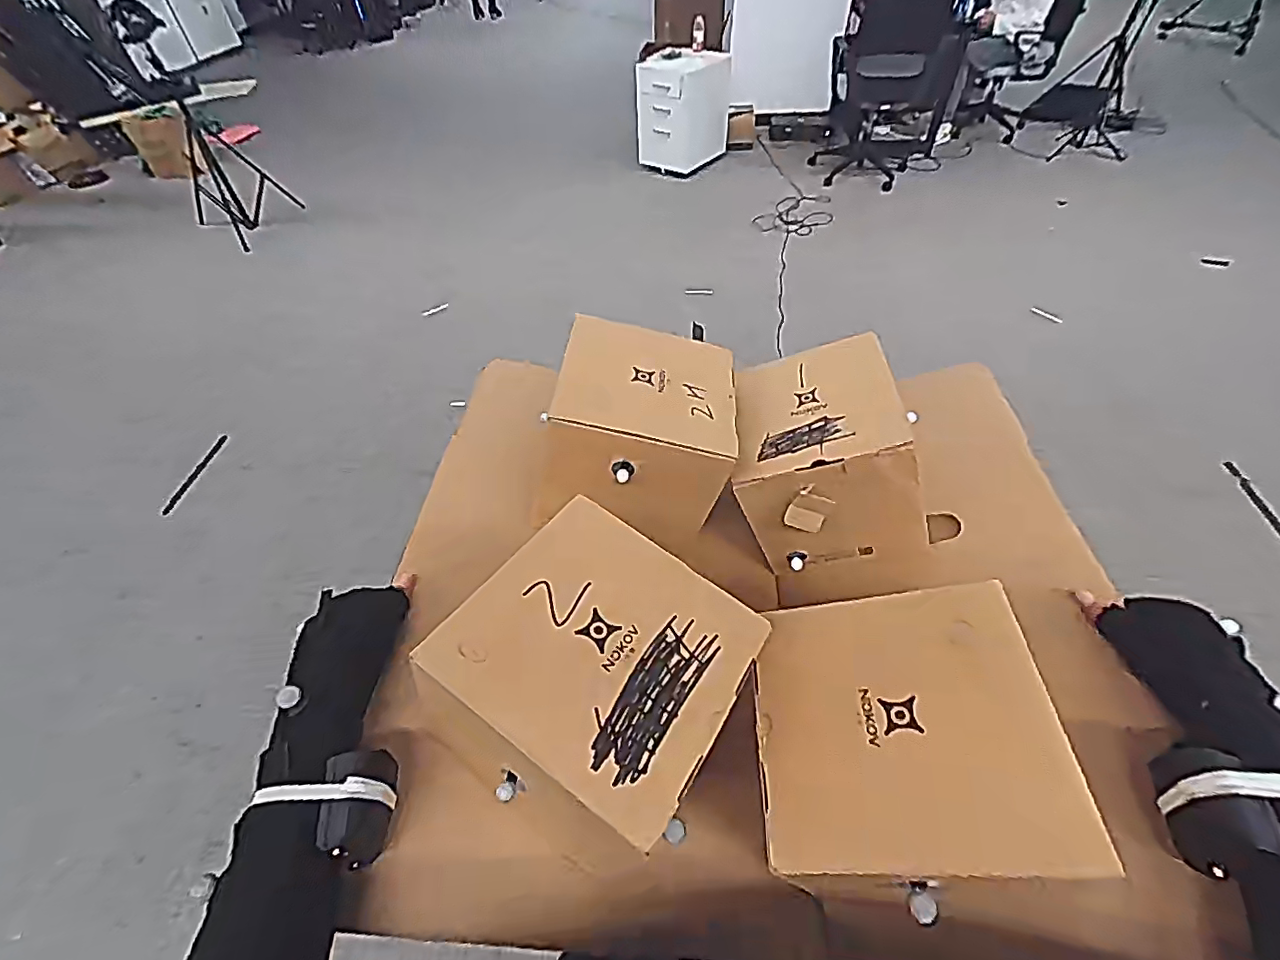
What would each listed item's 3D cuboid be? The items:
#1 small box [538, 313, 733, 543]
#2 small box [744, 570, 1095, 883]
[{"bbox_3d":[-0.009,-0.050,0.592,0.179,0.176,0.168,12,49,-6],"label":"small box"},{"bbox_3d":[0.190,0.190,0.406,0.179,0.176,0.168,-15,46,22],"label":"small box"}]
